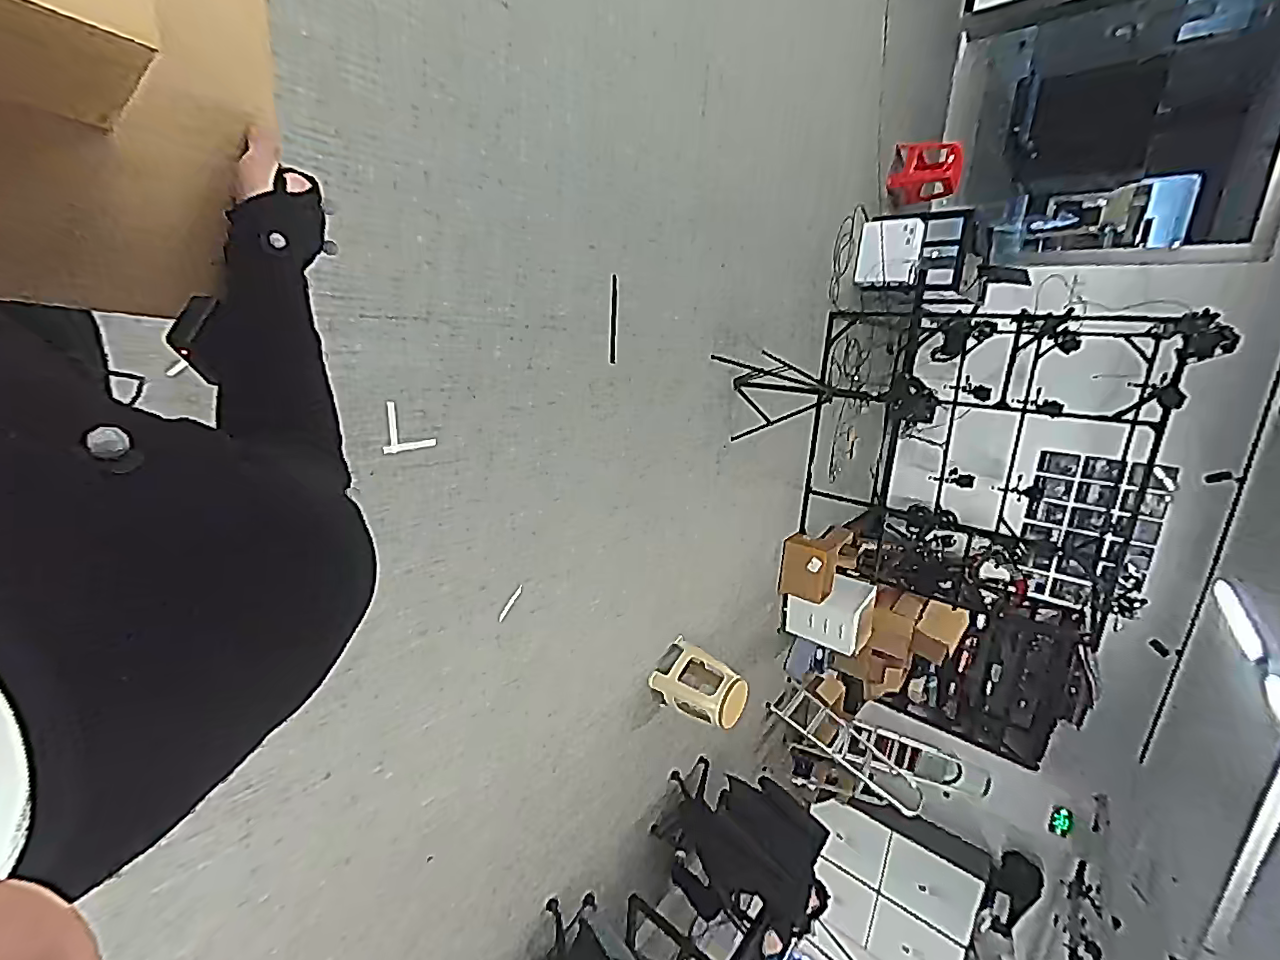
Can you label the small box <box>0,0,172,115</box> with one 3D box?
[{"bbox_3d":[-0.425,-0.356,0.328,0.179,0.176,0.168,-11,104,-50],"label":"small box"}]
